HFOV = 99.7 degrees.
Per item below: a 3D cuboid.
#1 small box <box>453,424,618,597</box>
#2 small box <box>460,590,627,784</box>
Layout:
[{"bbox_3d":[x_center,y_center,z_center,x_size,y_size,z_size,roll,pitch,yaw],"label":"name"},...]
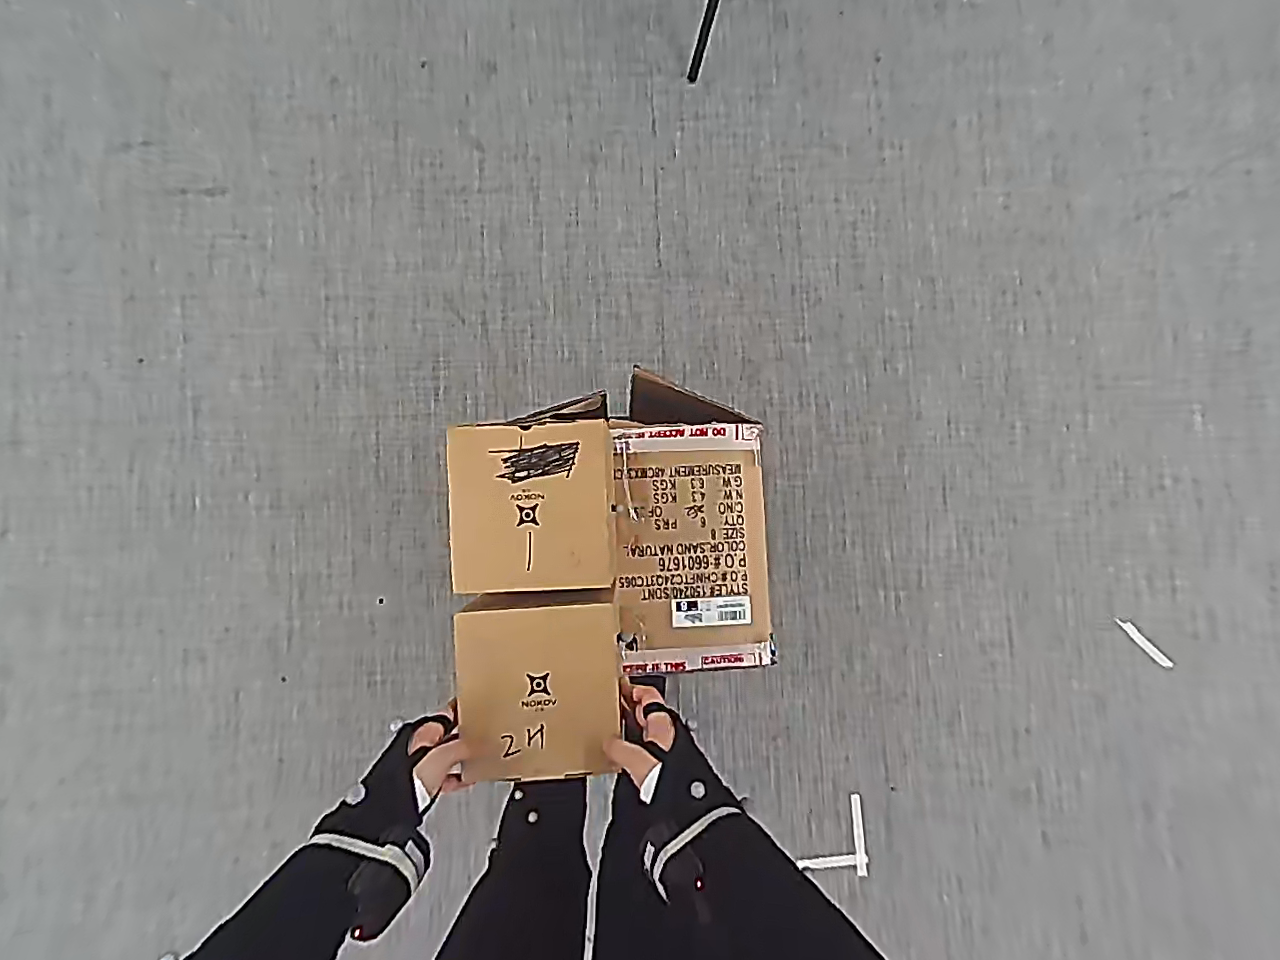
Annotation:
[{"bbox_3d":[-0.112,0.034,0.640,0.168,0.176,0.179,-3,89,0],"label":"small box"},{"bbox_3d":[-0.102,0.221,0.633,0.168,0.176,0.179,-4,88,-1],"label":"small box"}]
